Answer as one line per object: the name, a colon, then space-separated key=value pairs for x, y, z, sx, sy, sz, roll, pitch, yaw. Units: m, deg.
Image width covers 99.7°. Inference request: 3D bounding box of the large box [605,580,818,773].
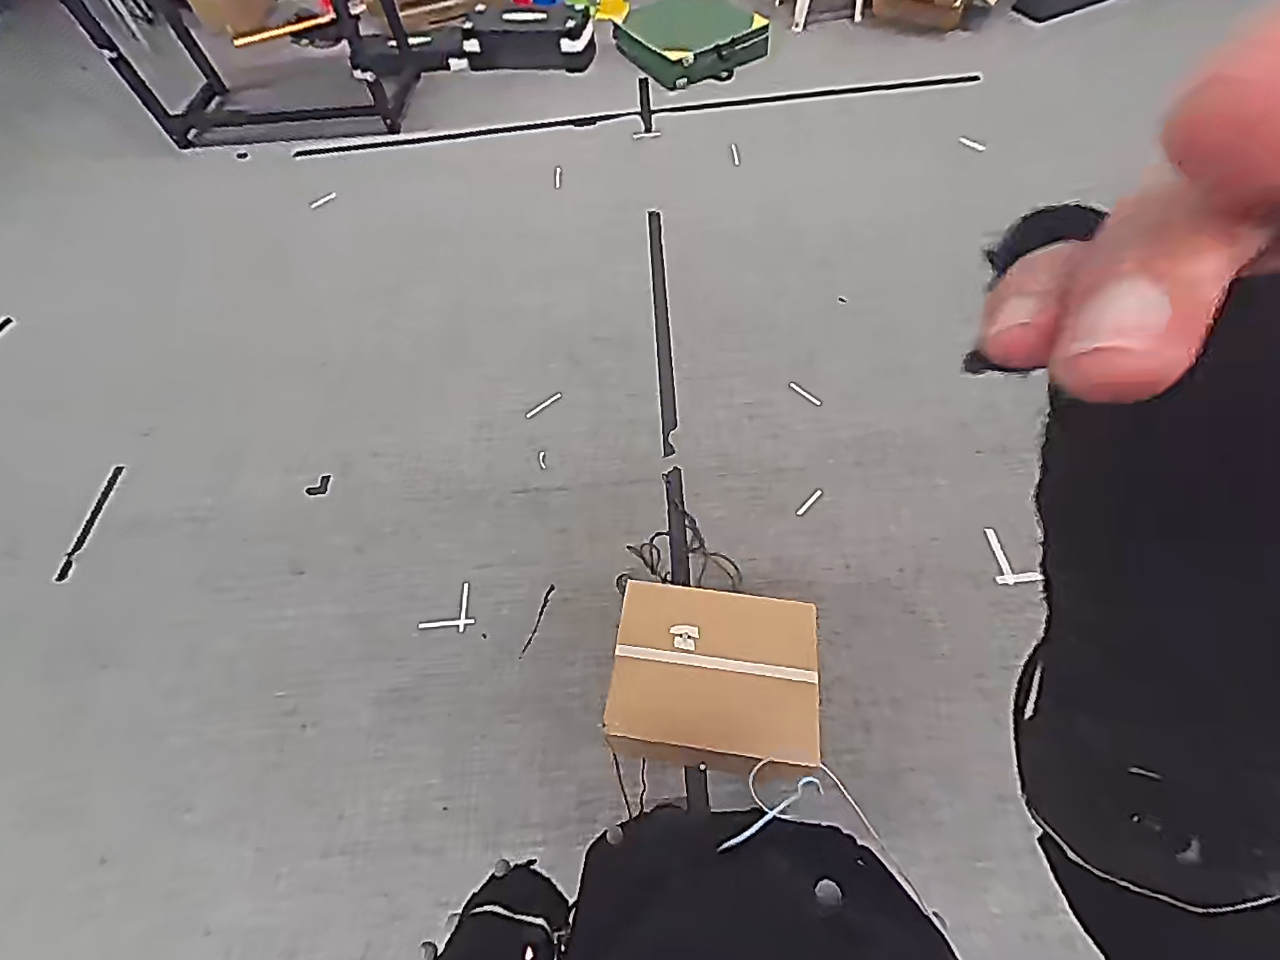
large box: x=0.158 y=0.446 z=1.209 sx=0.408 sy=0.320 sz=0.320 roll=6 pitch=56 yaw=7
